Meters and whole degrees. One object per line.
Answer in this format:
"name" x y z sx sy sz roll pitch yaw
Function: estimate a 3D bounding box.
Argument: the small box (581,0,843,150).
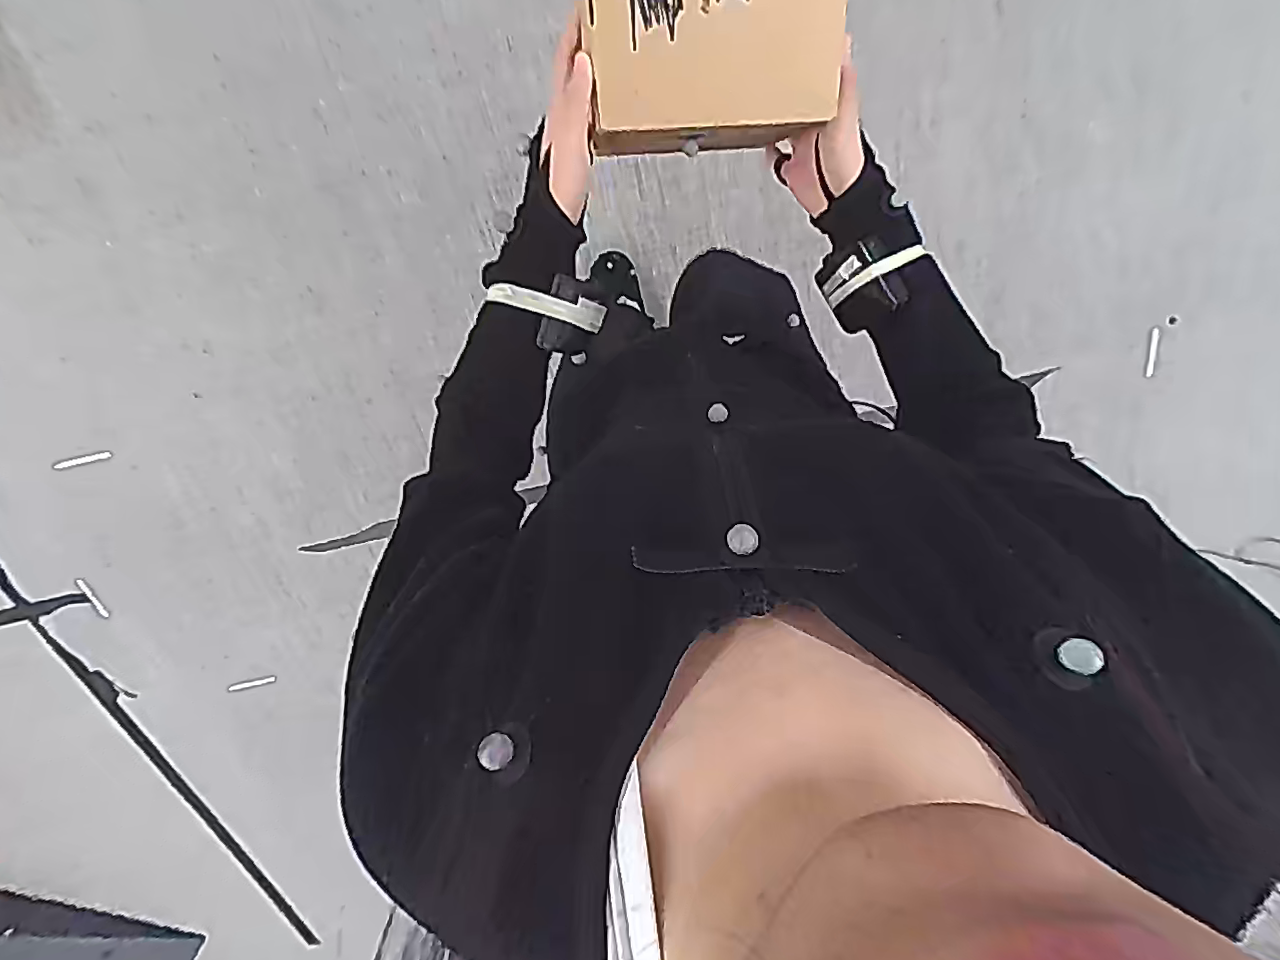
"small box" 0.042 -0.363 0.422 0.179 0.176 0.168 -5 116 -4
